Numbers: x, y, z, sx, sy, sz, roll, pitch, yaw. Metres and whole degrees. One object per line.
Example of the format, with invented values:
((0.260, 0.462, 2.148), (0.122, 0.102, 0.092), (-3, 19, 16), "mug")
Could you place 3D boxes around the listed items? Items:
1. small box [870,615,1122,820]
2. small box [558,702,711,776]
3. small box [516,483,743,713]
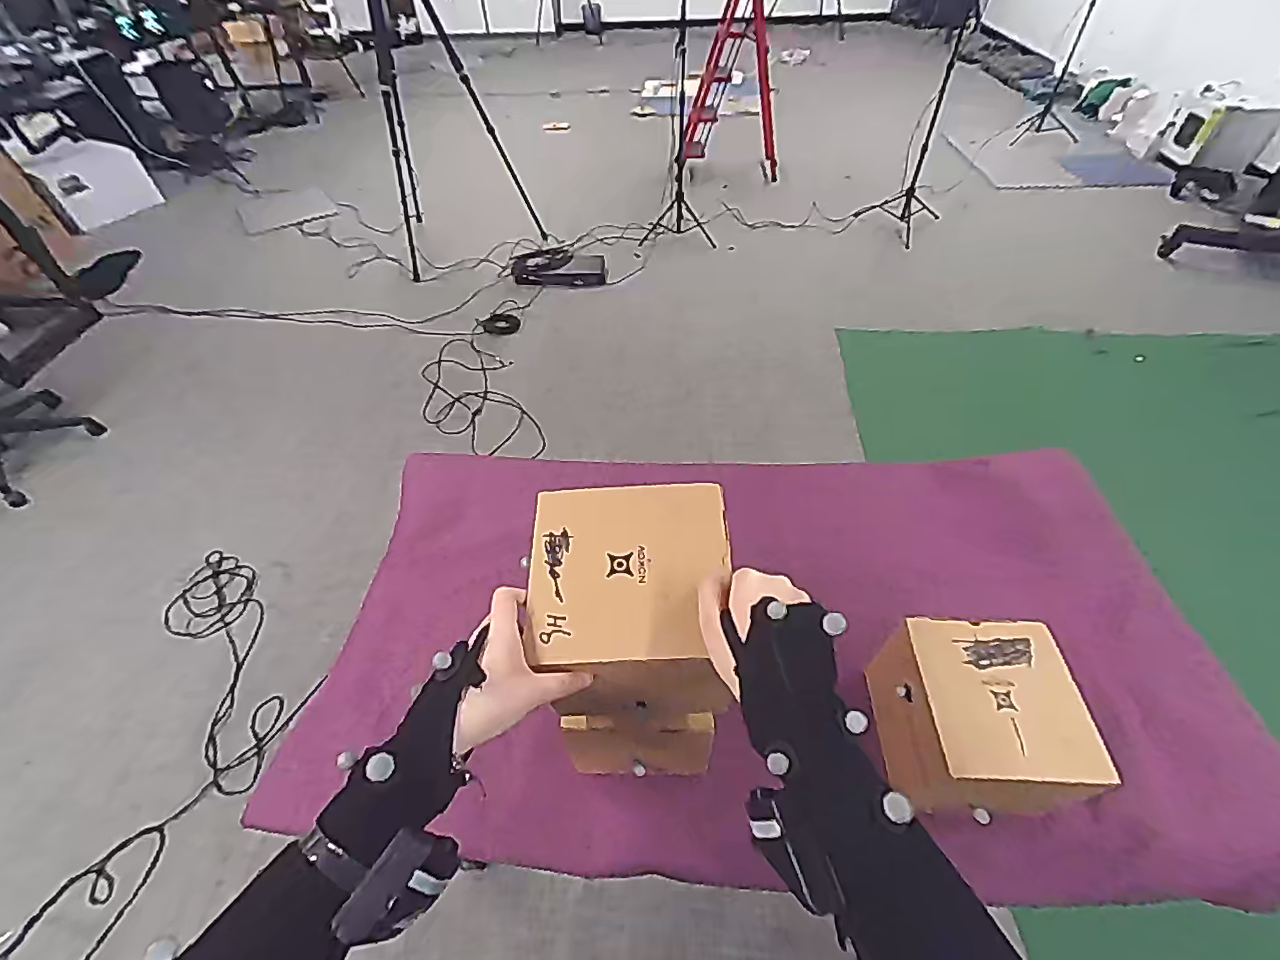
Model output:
((0.391, 0.280, 0.640), (0.168, 0.176, 0.179), (1, 49, 4), "small box")
((-0.001, 0.250, 0.680), (0.168, 0.176, 0.179), (0, 47, 3), "small box")
((-0.006, 0.117, 0.521), (0.179, 0.176, 0.168), (-2, 53, 2), "small box")
